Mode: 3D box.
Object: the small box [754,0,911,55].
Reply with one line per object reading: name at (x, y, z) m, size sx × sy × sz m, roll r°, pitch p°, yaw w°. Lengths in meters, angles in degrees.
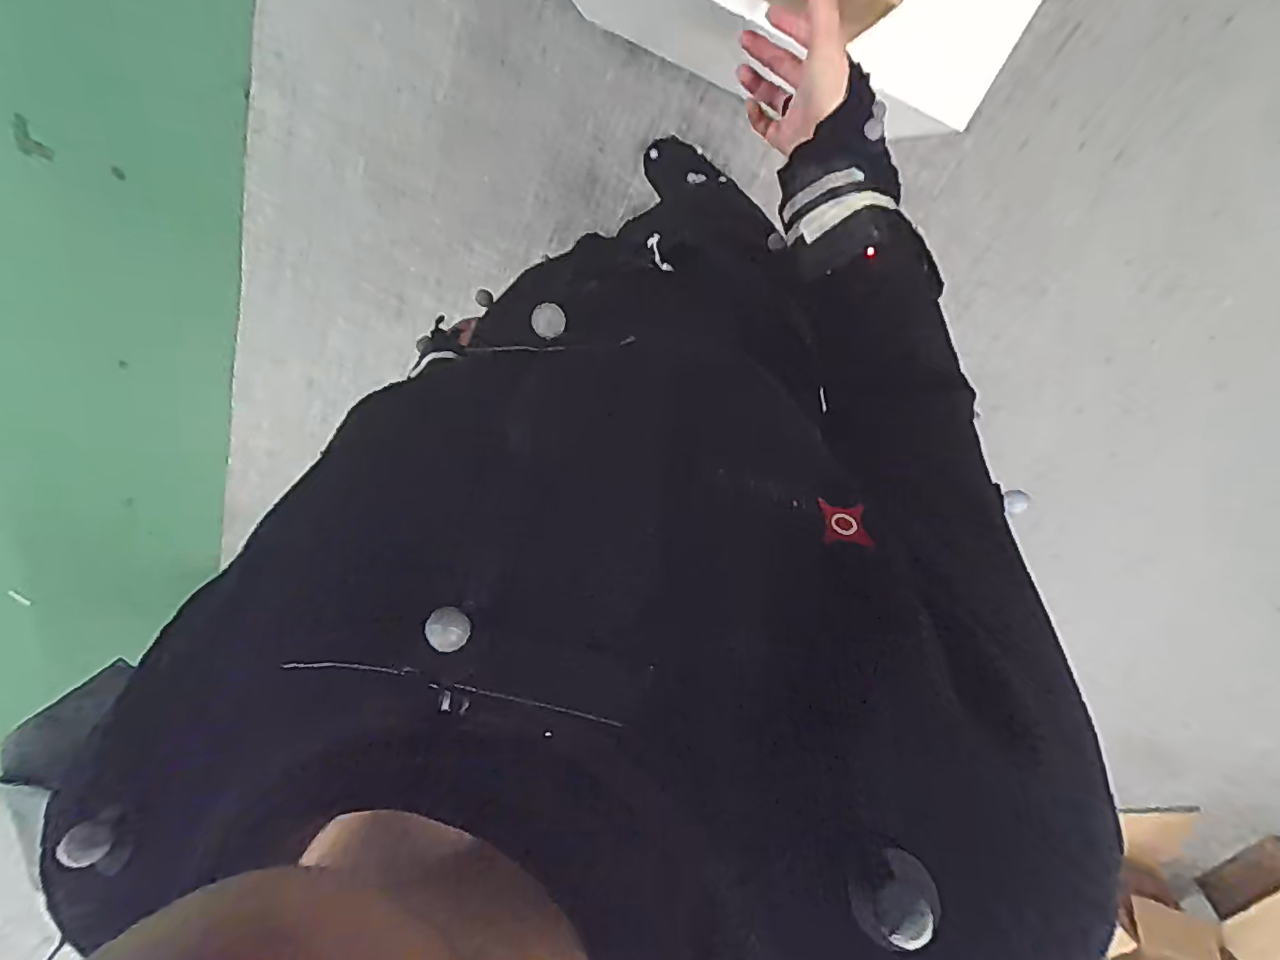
small box at (0.157, -0.465, 0.405) m, size 0.168 × 0.176 × 0.179 m, roll 24°, pitch 118°, yaw -10°
